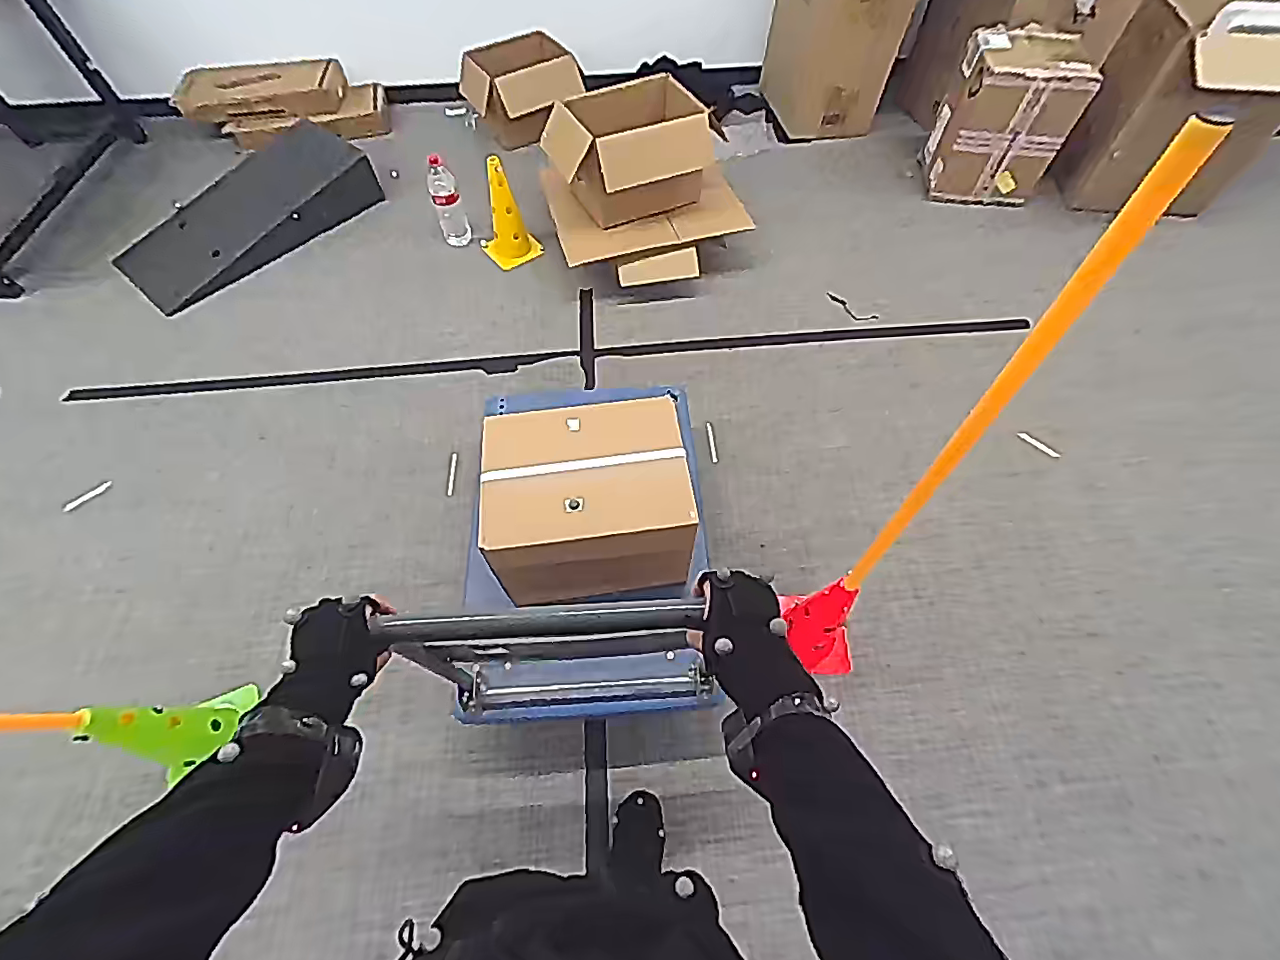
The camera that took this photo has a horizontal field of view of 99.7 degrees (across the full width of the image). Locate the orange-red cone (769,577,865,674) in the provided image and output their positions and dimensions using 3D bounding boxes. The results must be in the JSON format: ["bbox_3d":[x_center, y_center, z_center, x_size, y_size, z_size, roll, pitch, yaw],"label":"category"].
[{"bbox_3d":[0.428,0.297,1.217,0.199,0.360,0.198,2,59,1],"label":"orange-red cone"}]
